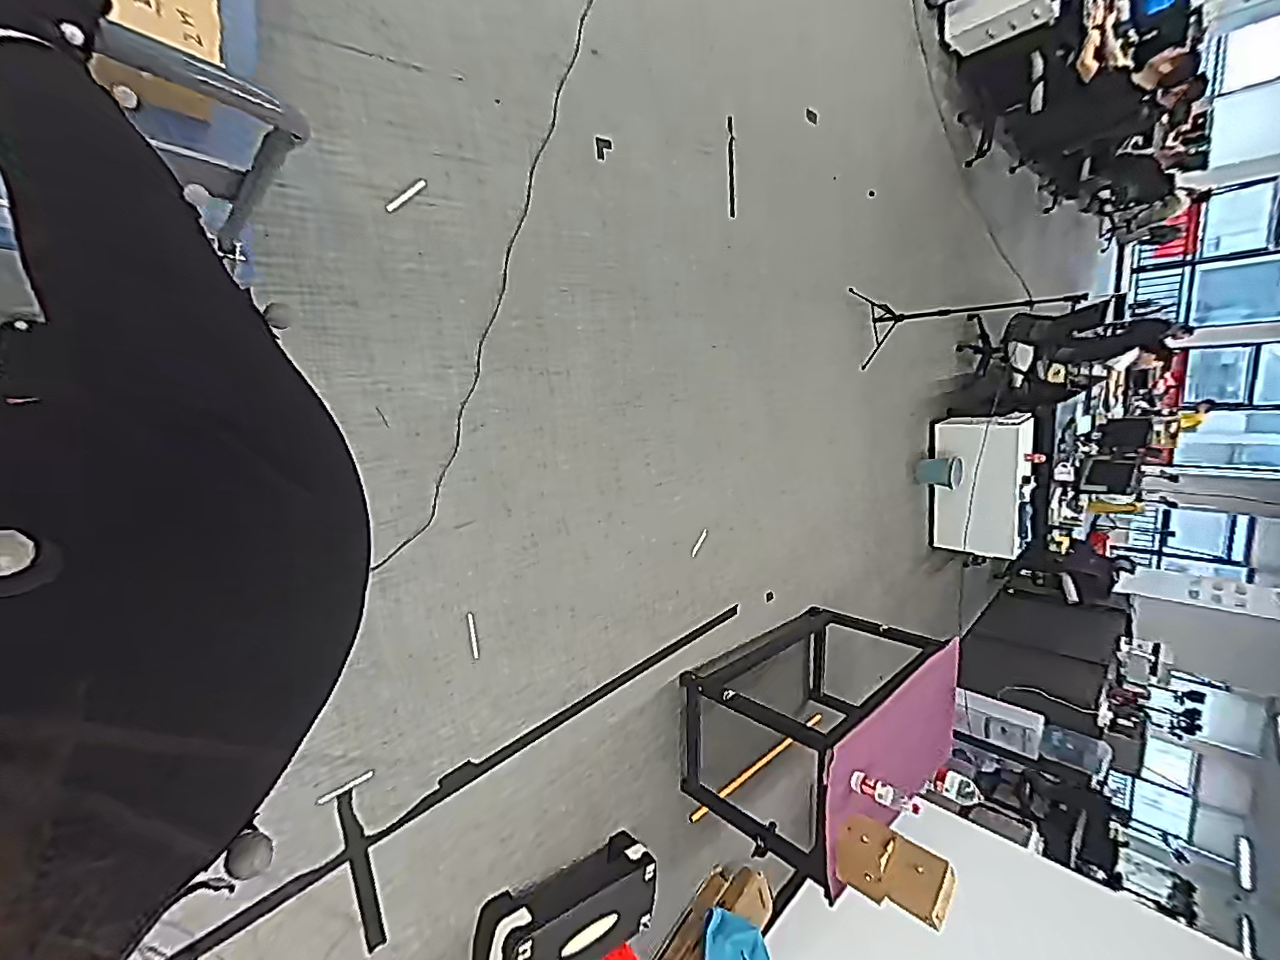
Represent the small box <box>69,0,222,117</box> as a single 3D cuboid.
[{"bbox_3d":[-0.804,-0.736,0.885,0.179,0.176,0.168,-4,98,-43],"label":"small box"}]
